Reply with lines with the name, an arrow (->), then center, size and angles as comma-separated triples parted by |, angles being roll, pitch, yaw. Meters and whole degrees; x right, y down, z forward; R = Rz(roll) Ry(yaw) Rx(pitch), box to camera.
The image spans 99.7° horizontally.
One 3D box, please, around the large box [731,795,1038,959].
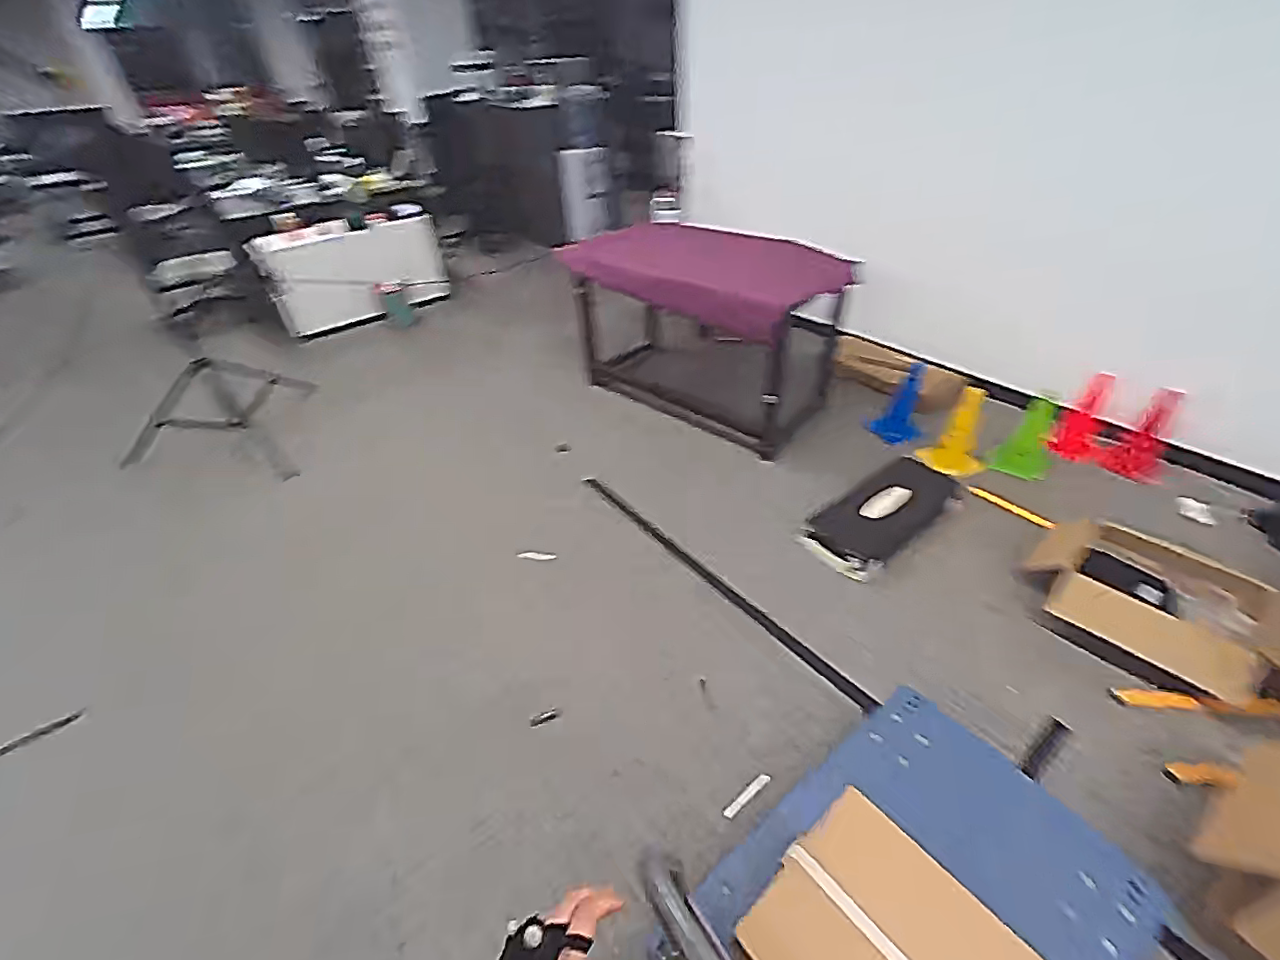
large box -> 0.393, 0.821, 0.857 | 0.320, 0.320, 0.408 | -30, 47, -28
